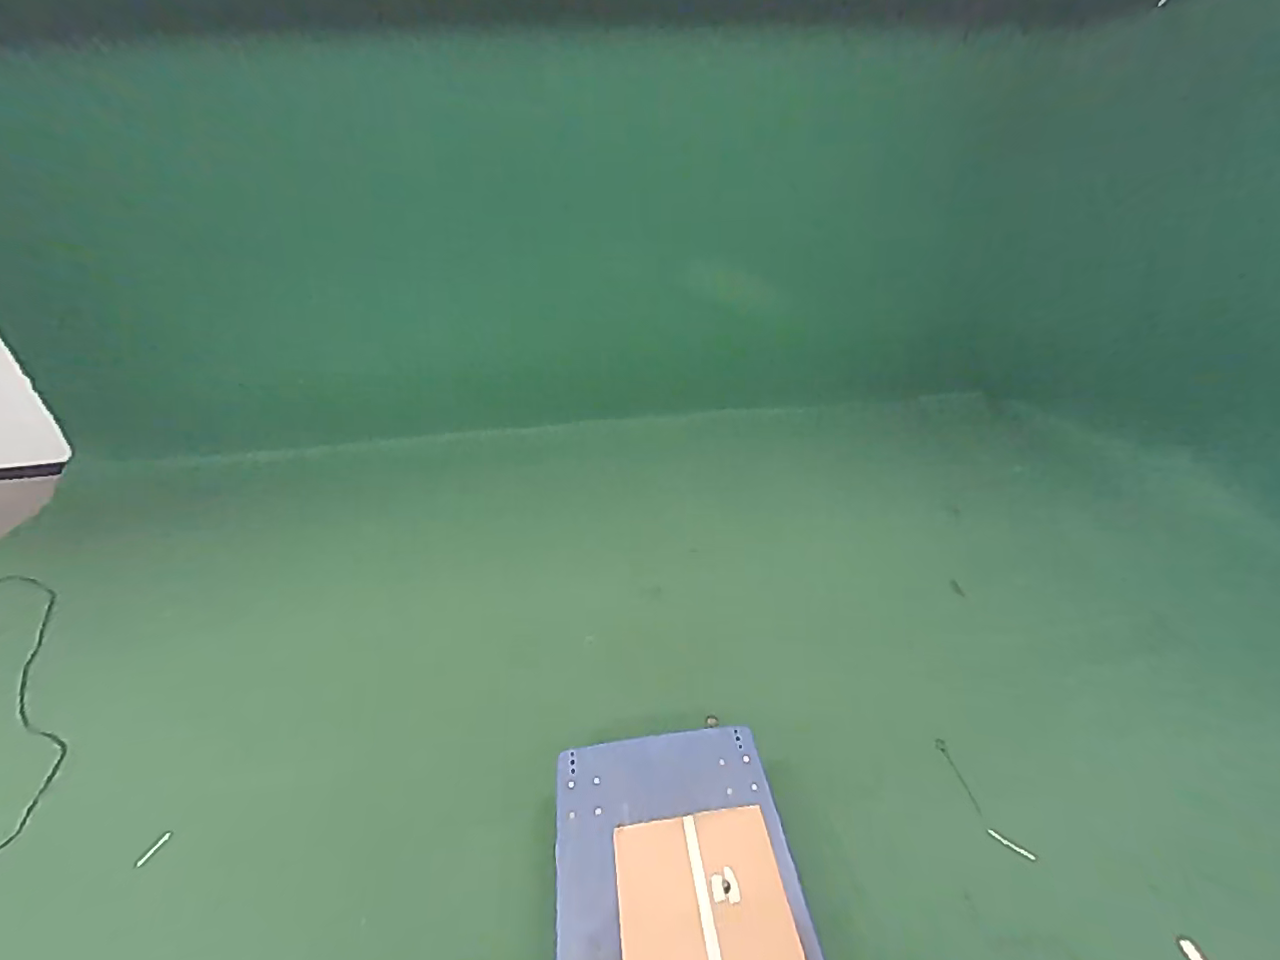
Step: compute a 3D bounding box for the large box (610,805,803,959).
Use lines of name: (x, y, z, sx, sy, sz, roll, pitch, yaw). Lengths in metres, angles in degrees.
large box: (0.124, 0.929, 1.035, 0.320, 0.320, 0.408, -5, 32, -6)
